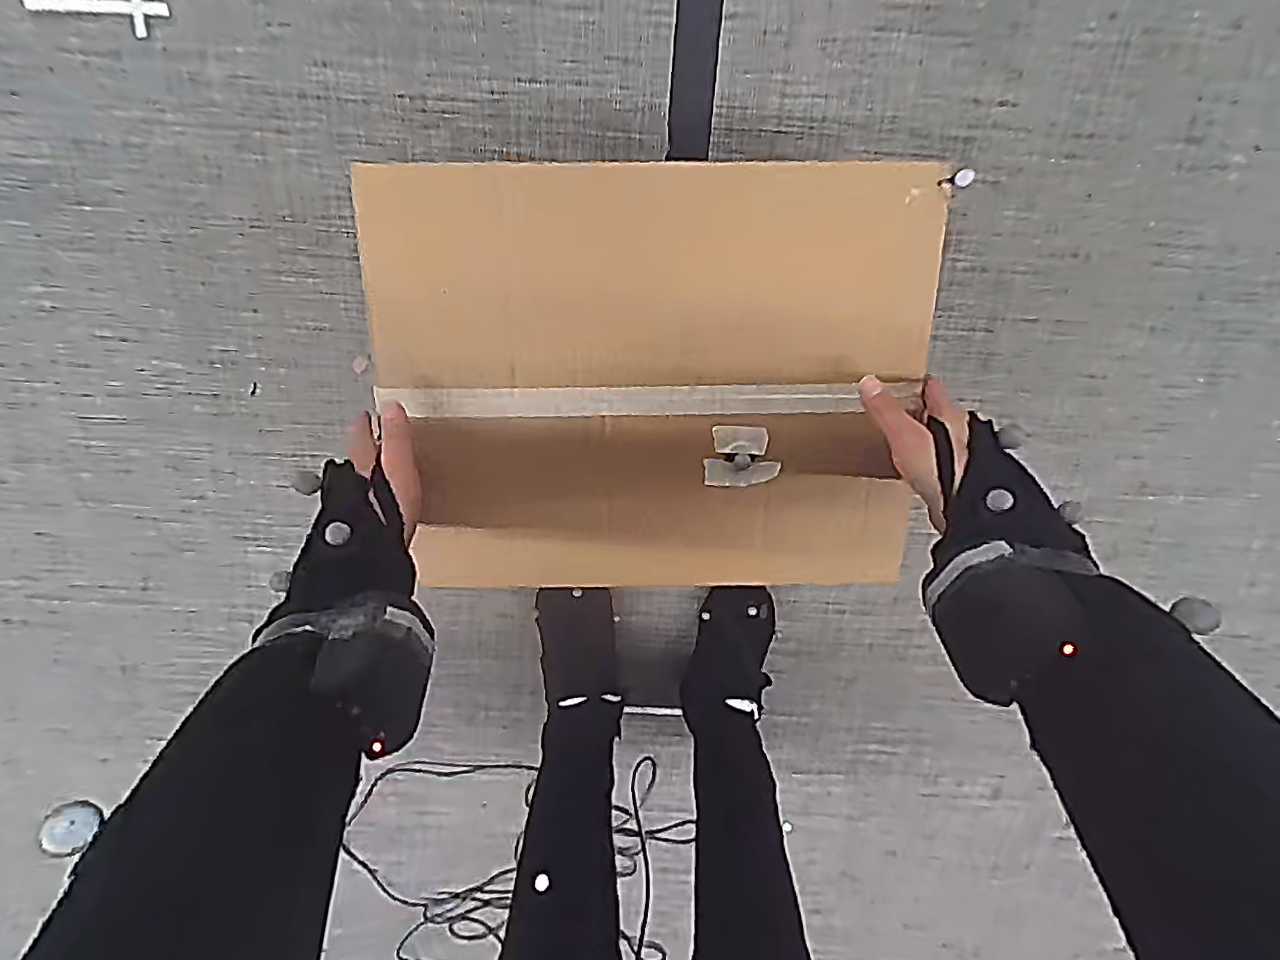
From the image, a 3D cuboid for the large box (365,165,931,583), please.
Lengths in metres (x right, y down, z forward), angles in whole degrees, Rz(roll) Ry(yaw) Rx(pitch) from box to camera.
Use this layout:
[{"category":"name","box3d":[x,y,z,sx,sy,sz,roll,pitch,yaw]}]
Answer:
[{"category":"large box","box3d":[0.006,-0.106,0.558,0.408,0.320,0.320,-1,107,-1]}]
